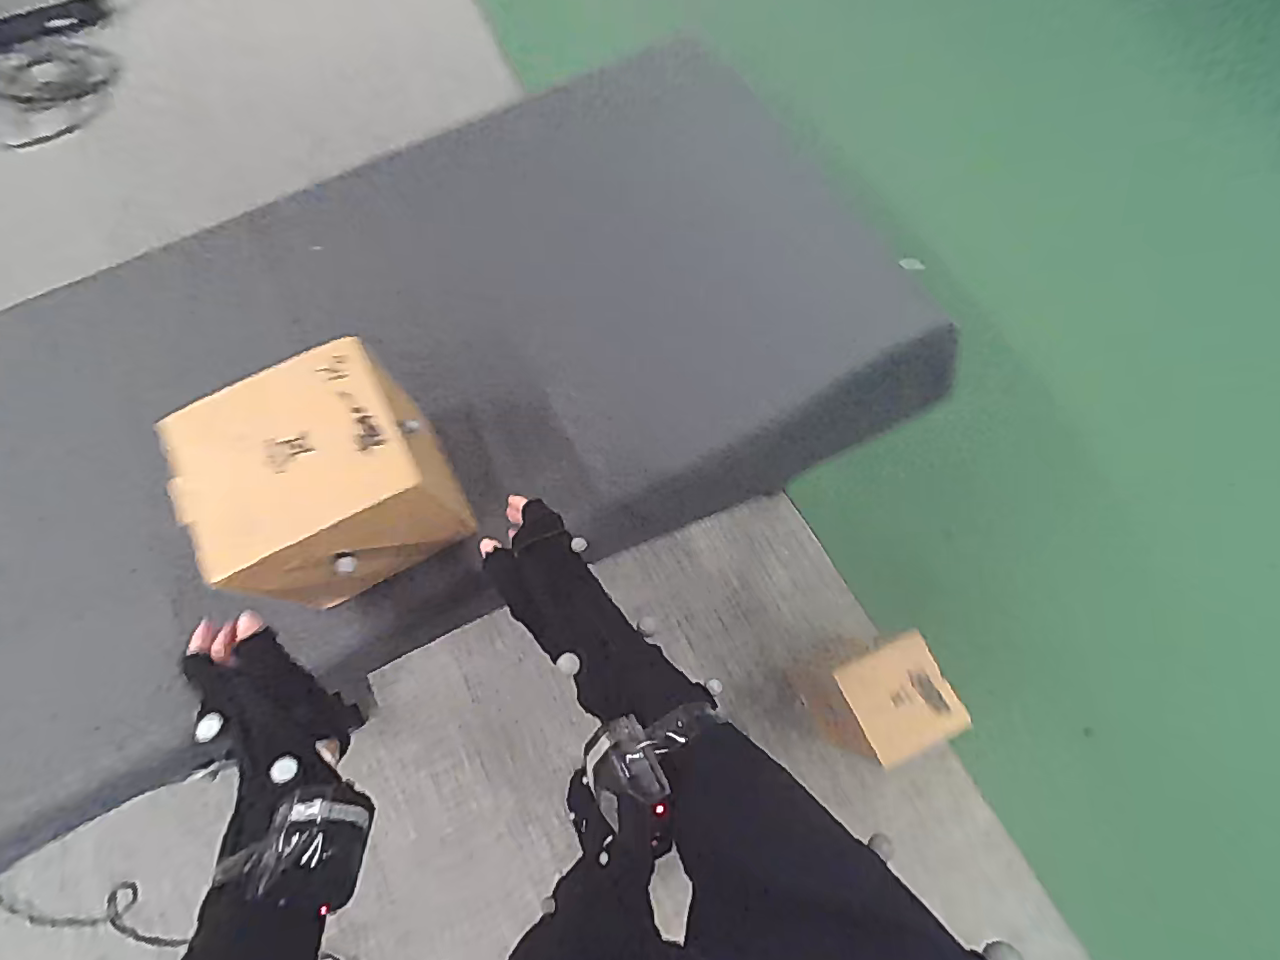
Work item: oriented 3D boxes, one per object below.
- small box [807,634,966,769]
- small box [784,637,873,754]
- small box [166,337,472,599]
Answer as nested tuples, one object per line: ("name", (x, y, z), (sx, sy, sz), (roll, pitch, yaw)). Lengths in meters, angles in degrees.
("small box", (0.437, 0.396, 0.992), (0.179, 0.176, 0.168), (-24, 72, -6))
("small box", (0.434, 0.448, 1.148), (0.179, 0.176, 0.168), (-26, 73, -6))
("small box", (-0.295, 0.001, 0.530), (0.179, 0.176, 0.168), (-28, 73, -8))
